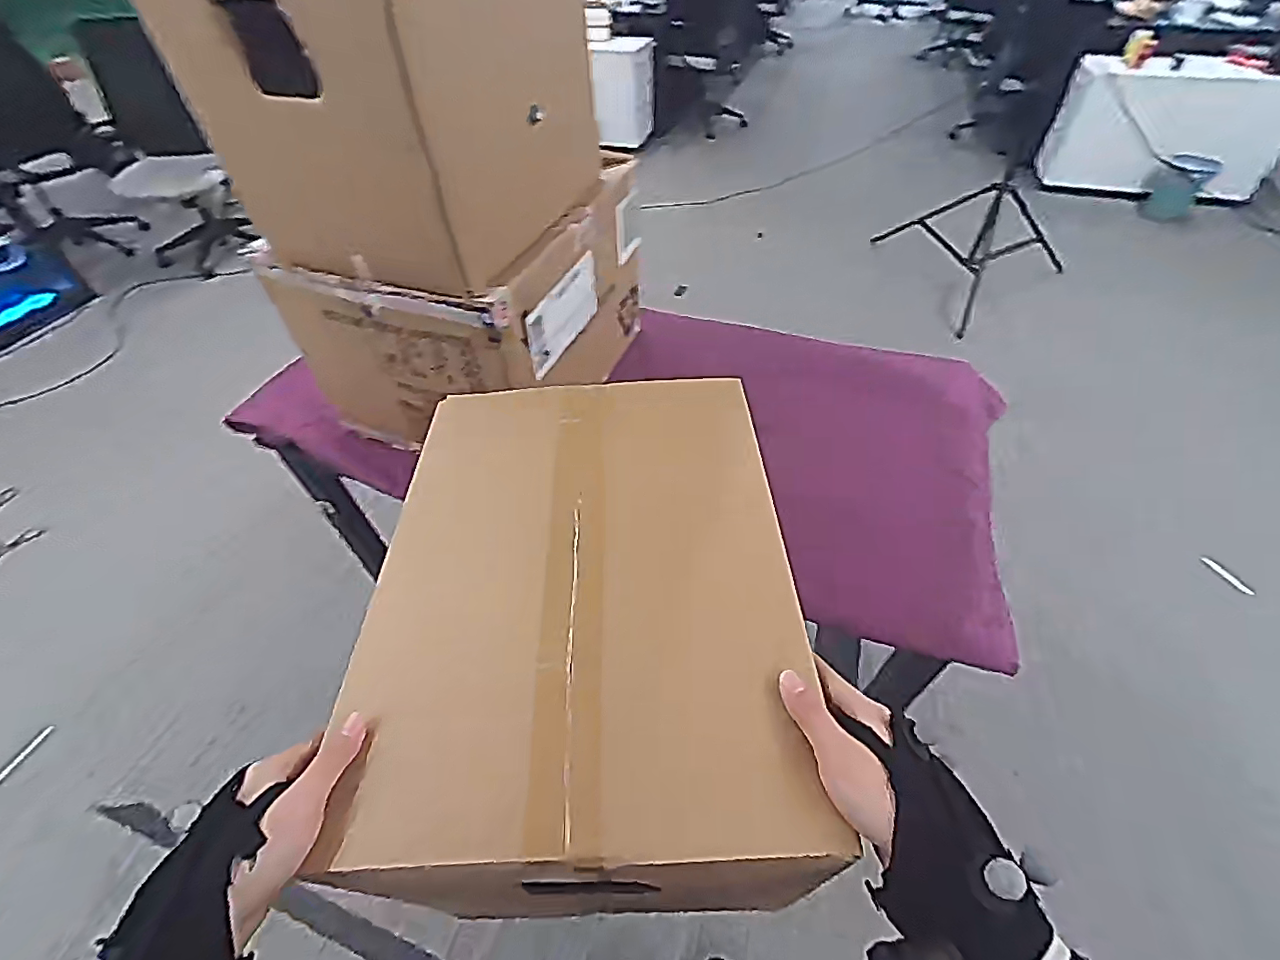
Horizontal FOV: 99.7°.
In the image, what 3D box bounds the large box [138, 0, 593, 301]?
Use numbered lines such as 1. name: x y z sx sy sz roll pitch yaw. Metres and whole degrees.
1. large box: -0.280 -0.488 0.707 0.320 0.320 0.408 12 50 15
